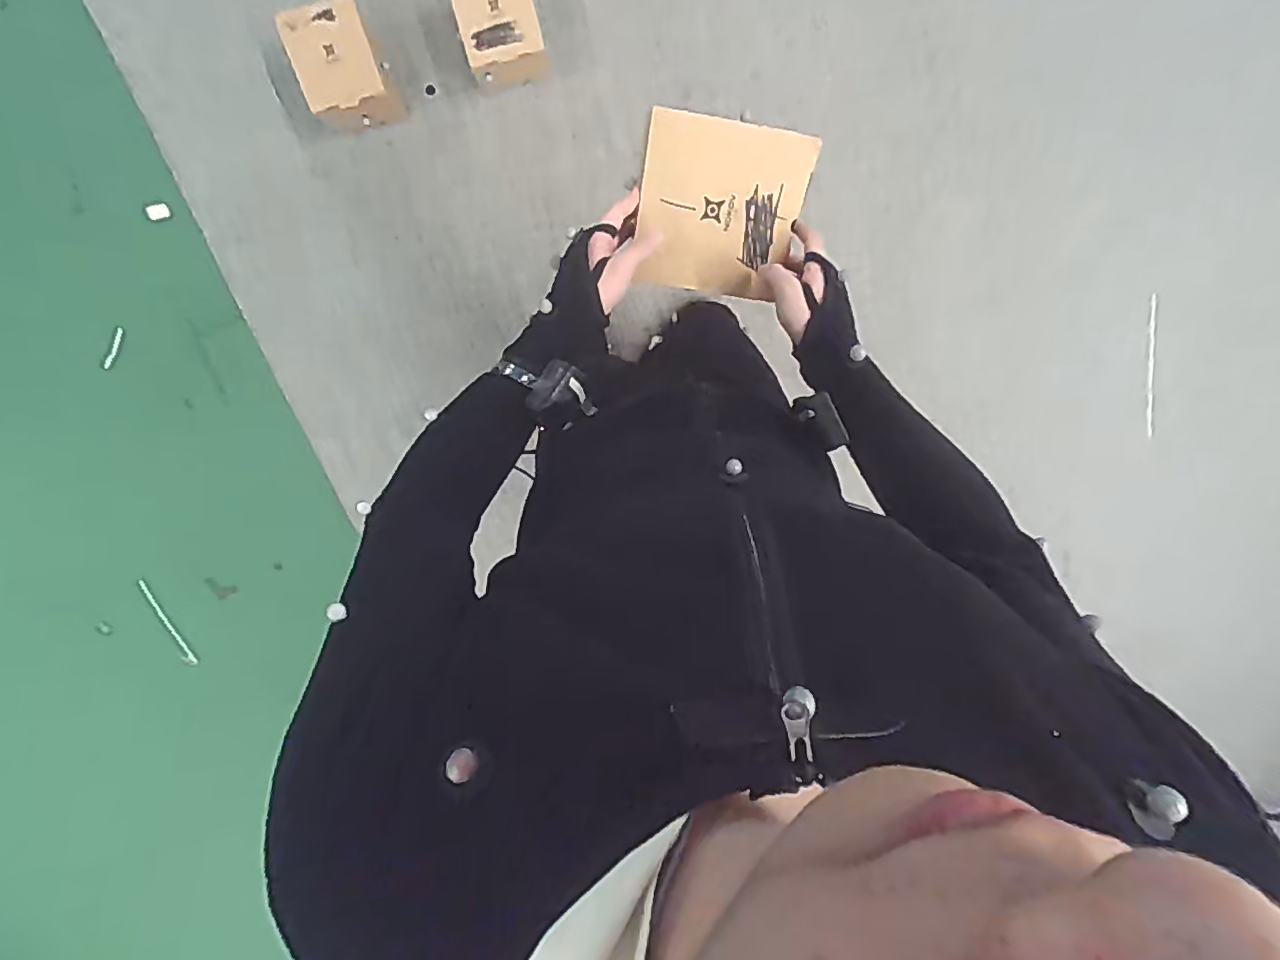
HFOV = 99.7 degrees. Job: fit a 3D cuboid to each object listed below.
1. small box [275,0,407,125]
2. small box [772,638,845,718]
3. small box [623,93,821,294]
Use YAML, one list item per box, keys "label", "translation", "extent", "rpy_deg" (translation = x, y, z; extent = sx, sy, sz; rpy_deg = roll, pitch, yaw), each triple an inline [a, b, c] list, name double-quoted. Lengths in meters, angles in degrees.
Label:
- label: "small box"
  translation: [-0.638, -0.904, 1.182]
  extent: [0.168, 0.176, 0.179]
  rpy_deg: [-15, 110, -1]
- label: "small box"
  translation: [0.575, 0.672, 1.856]
  extent: [0.179, 0.176, 0.168]
  rpy_deg: [-18, 110, 1]
- label: "small box"
  translation: [0.079, -0.331, 0.628]
  extent: [0.179, 0.176, 0.168]
  rpy_deg: [8, 121, -5]
